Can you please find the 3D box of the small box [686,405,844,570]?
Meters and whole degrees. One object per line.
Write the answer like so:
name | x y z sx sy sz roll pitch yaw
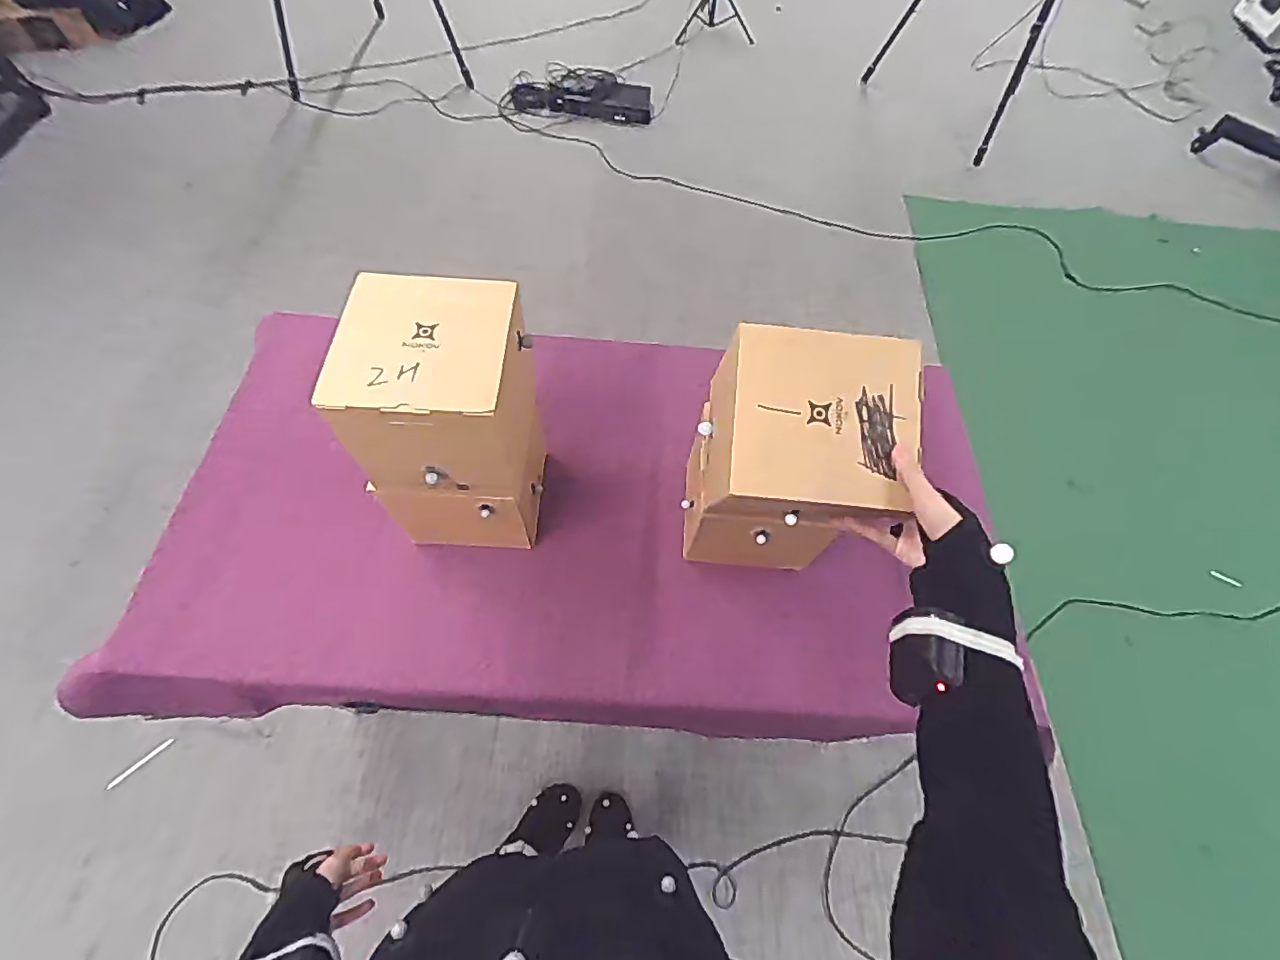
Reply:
small box | 0.161 0.017 0.753 0.179 0.176 0.168 6 62 -1

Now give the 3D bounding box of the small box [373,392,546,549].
small box | -0.232 -0.012 0.746 0.179 0.176 0.168 3 61 -3

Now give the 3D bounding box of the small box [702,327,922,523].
small box | 0.169 -0.045 0.576 0.179 0.176 0.168 5 82 -1

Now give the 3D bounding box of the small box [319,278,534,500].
small box | -0.215 -0.096 0.604 0.168 0.176 0.179 2 60 -3
